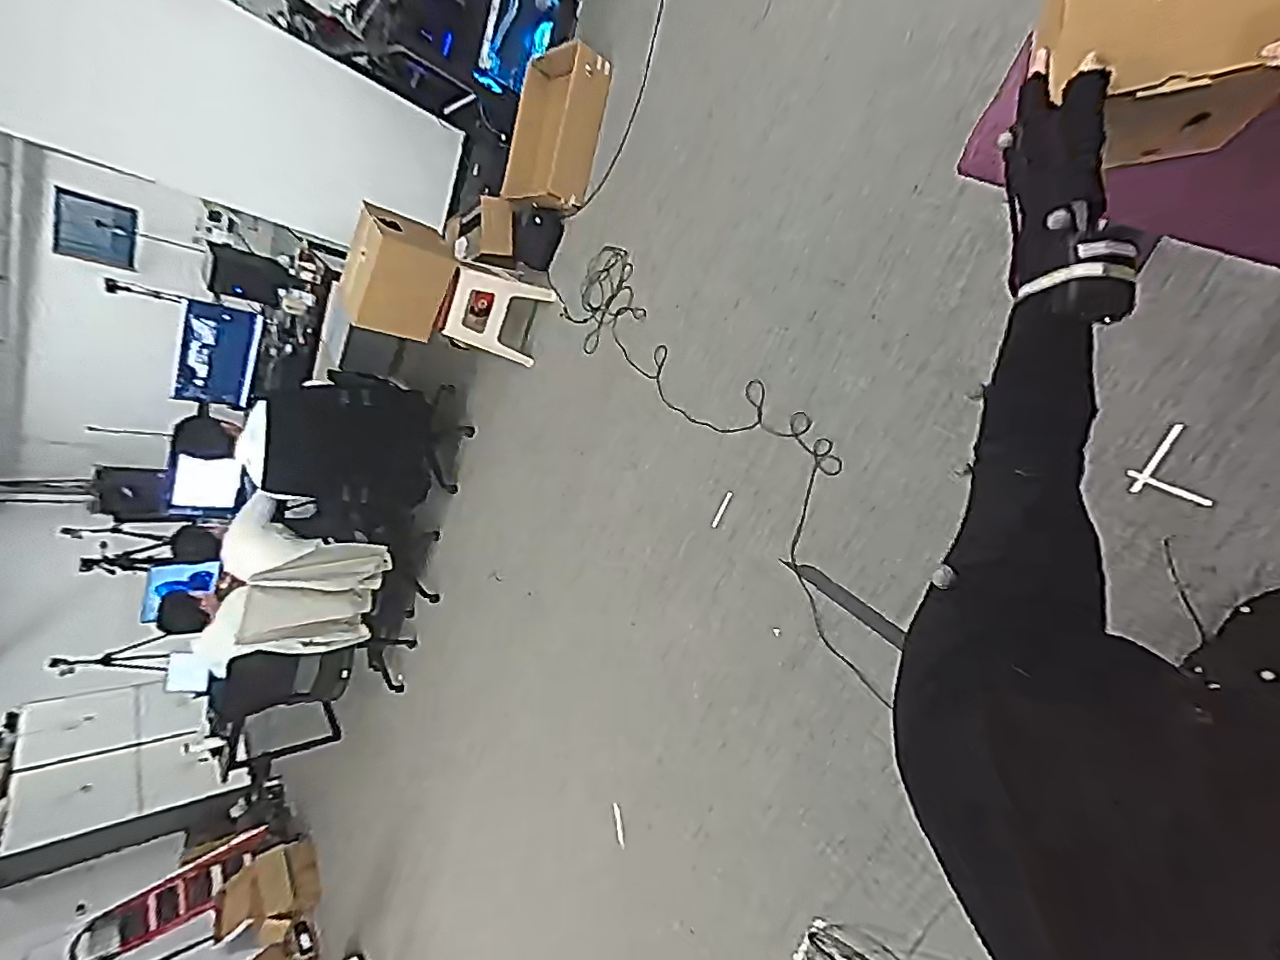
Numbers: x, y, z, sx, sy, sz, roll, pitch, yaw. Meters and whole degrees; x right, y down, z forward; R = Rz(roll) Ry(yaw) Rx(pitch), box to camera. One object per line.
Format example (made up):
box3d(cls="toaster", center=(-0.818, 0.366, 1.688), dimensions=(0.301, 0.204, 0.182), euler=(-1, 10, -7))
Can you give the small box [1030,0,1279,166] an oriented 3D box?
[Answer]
box3d(cls="small box", center=(0.459, -0.405, 0.477), dimensions=(0.168, 0.176, 0.179), euler=(3, 97, 28))
